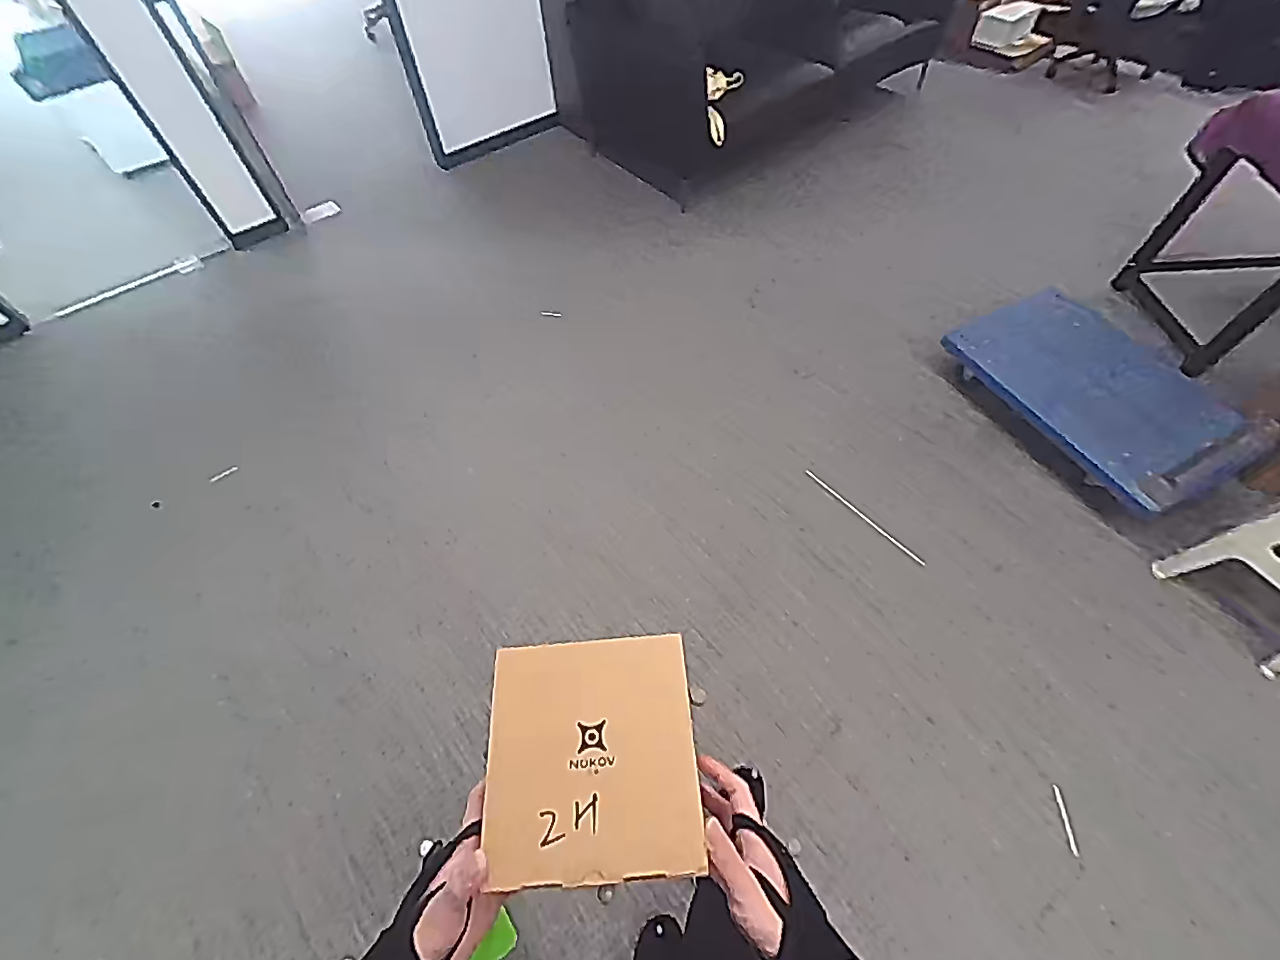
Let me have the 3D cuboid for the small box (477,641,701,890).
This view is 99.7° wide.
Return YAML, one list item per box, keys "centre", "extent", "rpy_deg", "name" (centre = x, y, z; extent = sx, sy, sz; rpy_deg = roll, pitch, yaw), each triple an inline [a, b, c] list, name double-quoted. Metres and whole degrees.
- centre: [-0.038, 0.267, 0.503]
  extent: [0.168, 0.176, 0.179]
  rpy_deg: [-4, 55, 0]
  name: "small box"

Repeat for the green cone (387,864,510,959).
- centre: [-0.428, 0.939, 1.087]
  extent: [0.200, 0.368, 0.202]
  rpy_deg: [-33, 62, -18]
  name: "green cone"
